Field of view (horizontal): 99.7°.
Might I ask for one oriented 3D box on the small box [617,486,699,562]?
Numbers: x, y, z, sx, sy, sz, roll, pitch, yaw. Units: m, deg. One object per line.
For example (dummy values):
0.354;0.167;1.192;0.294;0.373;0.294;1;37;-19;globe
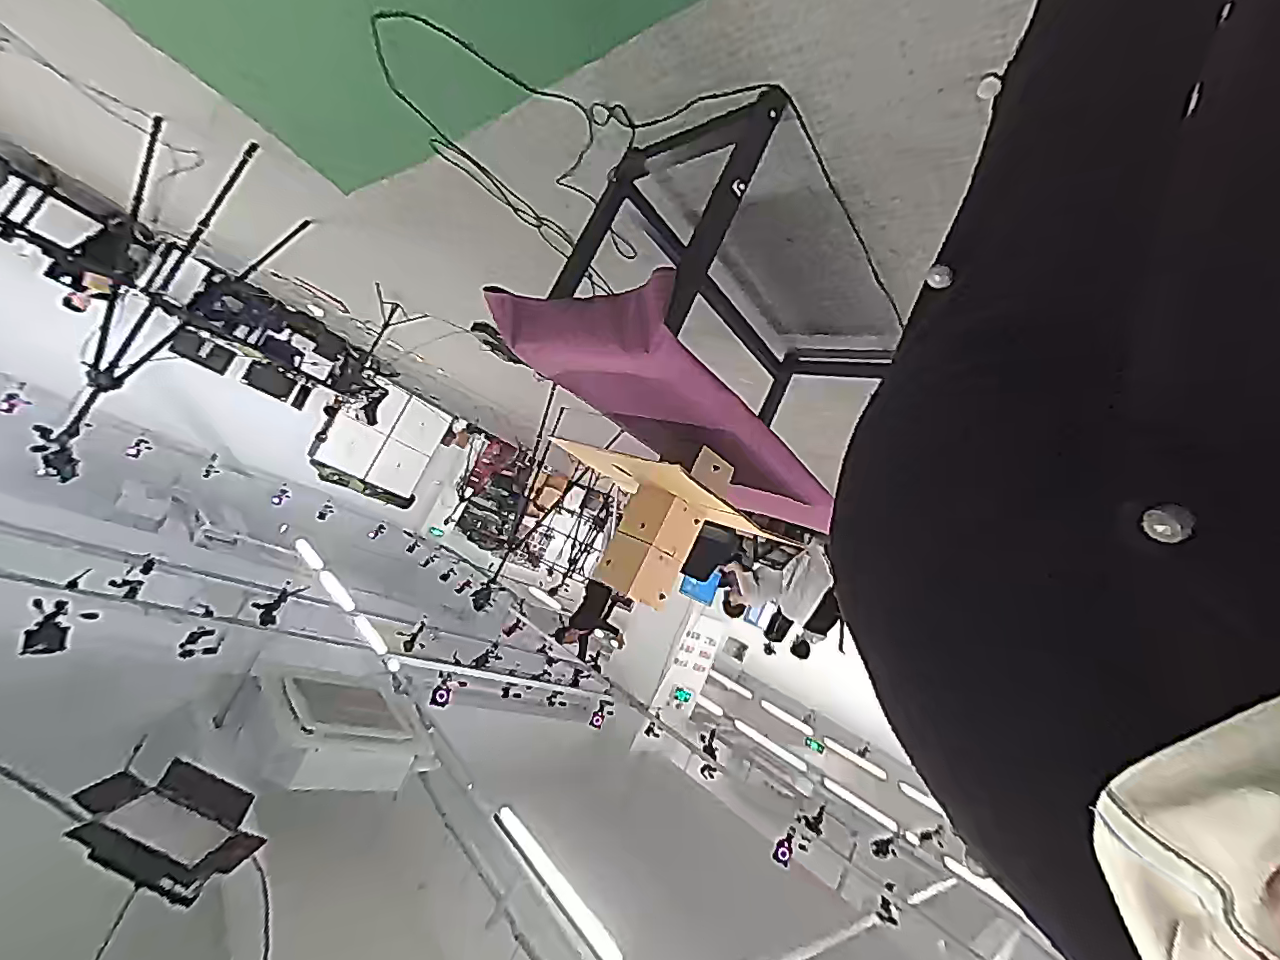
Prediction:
0.065;0.134;1.702;0.179;0.176;0.168;16;166;49;small box
